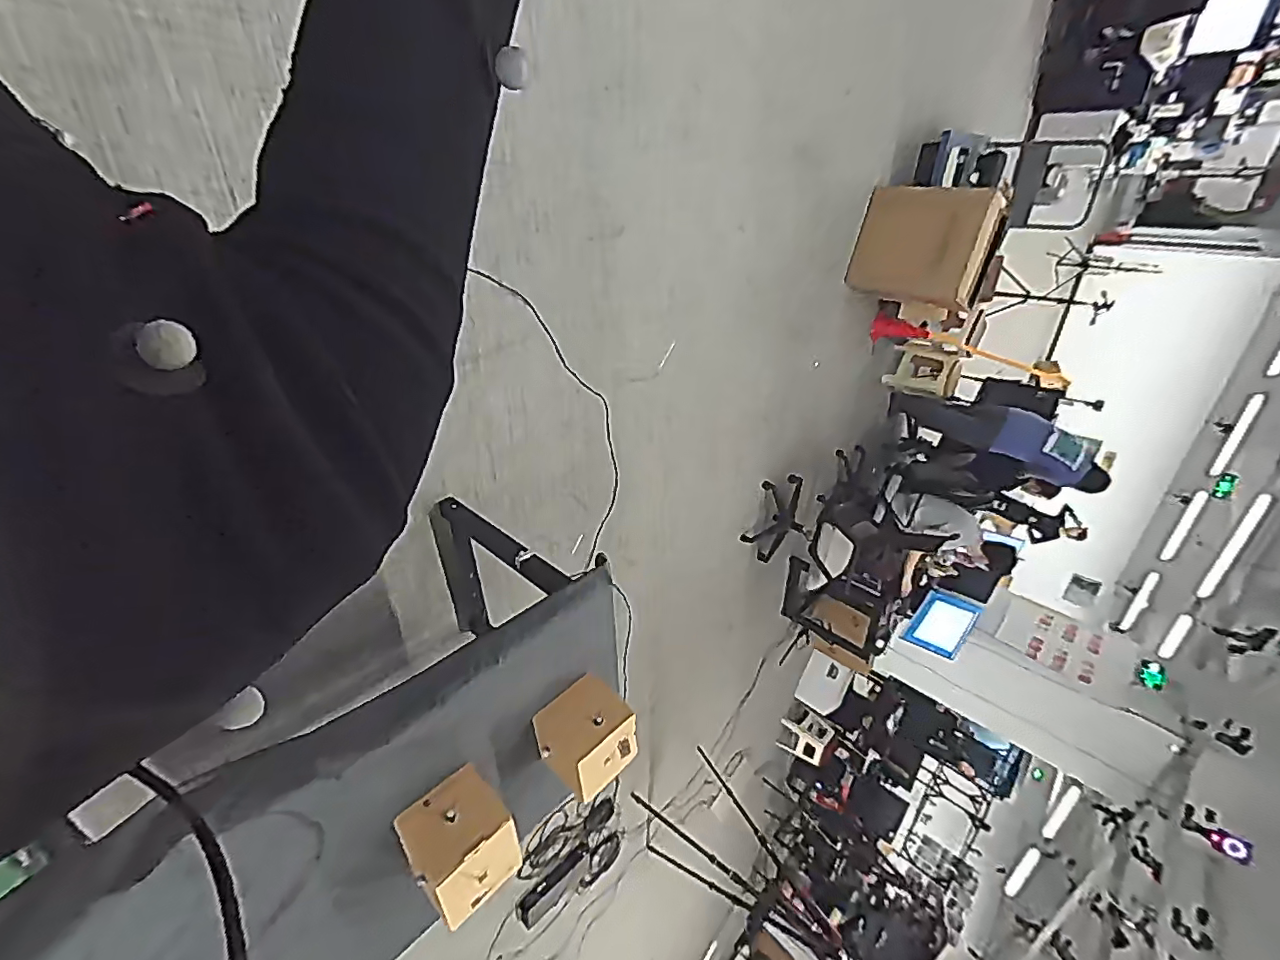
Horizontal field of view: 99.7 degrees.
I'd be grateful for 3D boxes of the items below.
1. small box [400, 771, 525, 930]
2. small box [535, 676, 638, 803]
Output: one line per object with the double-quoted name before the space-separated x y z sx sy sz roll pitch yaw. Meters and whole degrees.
"small box" -0.356 0.726 1.084 0.168 0.176 0.179 -28 129 -39
"small box" -0.126 0.610 1.293 0.179 0.176 0.168 -29 130 -36
